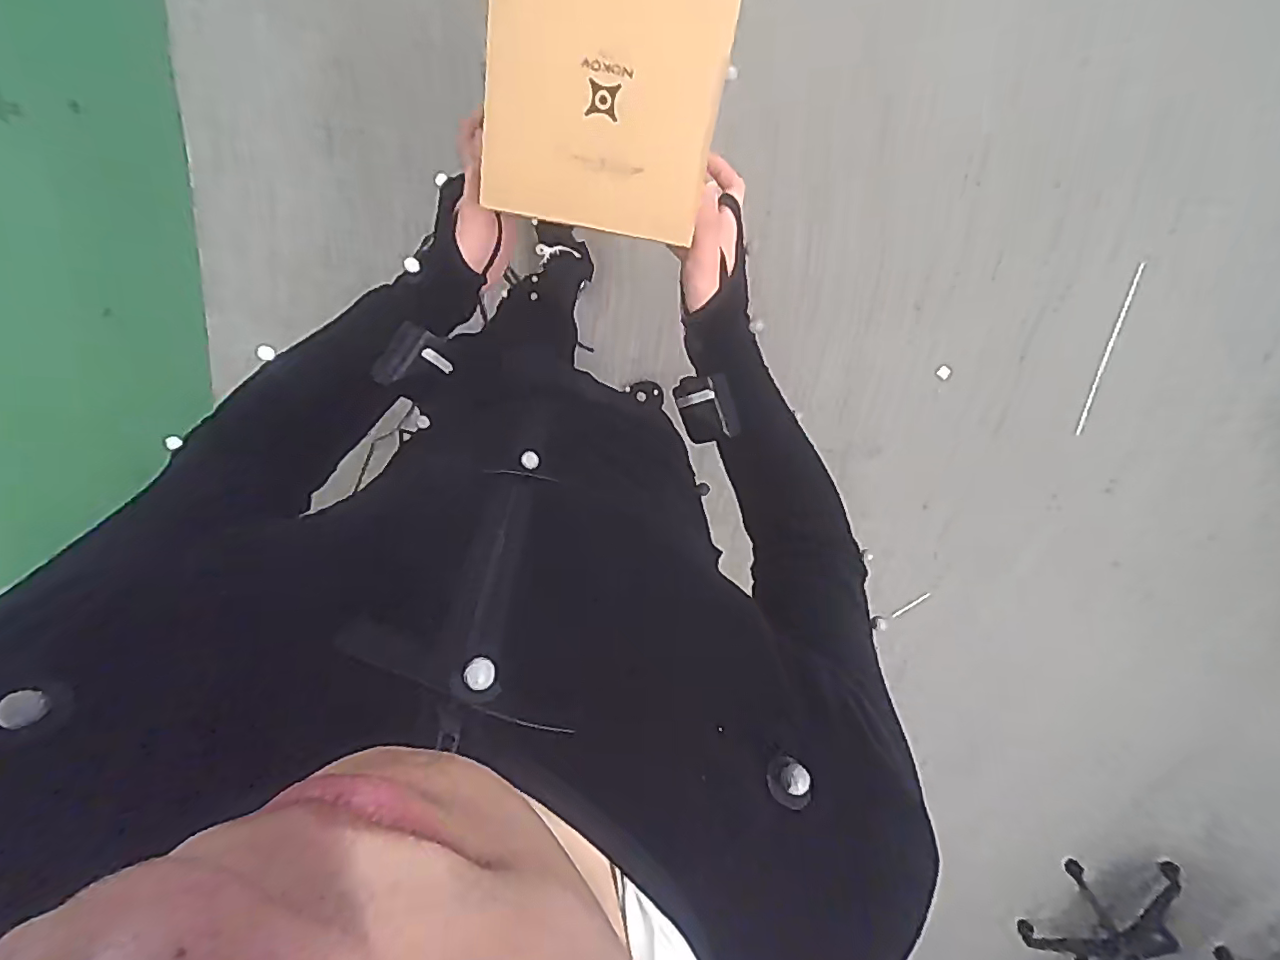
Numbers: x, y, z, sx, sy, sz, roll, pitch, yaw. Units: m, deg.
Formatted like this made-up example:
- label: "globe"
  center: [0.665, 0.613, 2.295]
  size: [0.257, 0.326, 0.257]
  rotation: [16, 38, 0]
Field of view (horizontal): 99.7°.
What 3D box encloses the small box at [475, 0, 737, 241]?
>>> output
- label: "small box"
  center: [-0.027, -0.308, 0.447]
  size: [0.168, 0.176, 0.179]
  rotation: [10, 115, -3]
